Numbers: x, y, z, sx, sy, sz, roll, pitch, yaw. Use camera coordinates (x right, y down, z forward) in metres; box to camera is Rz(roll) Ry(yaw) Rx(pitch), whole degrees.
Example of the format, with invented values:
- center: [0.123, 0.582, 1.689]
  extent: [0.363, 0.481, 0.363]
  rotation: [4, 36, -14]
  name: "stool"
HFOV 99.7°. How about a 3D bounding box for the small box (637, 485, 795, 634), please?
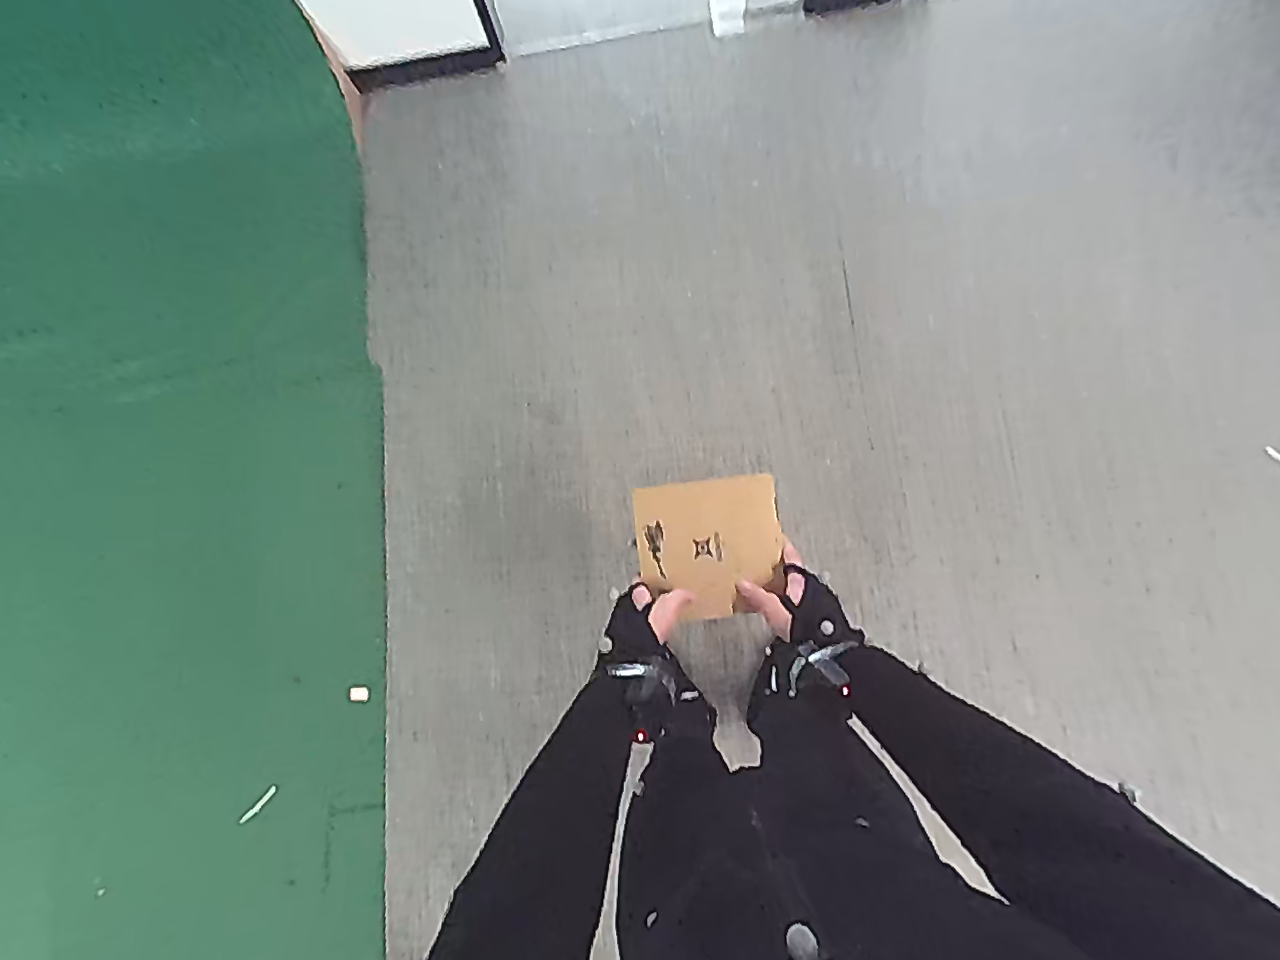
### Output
- center: [0.092, 0.106, 0.724]
  extent: [0.179, 0.176, 0.168]
  rotation: [-7, 80, 2]
  name: "small box"
